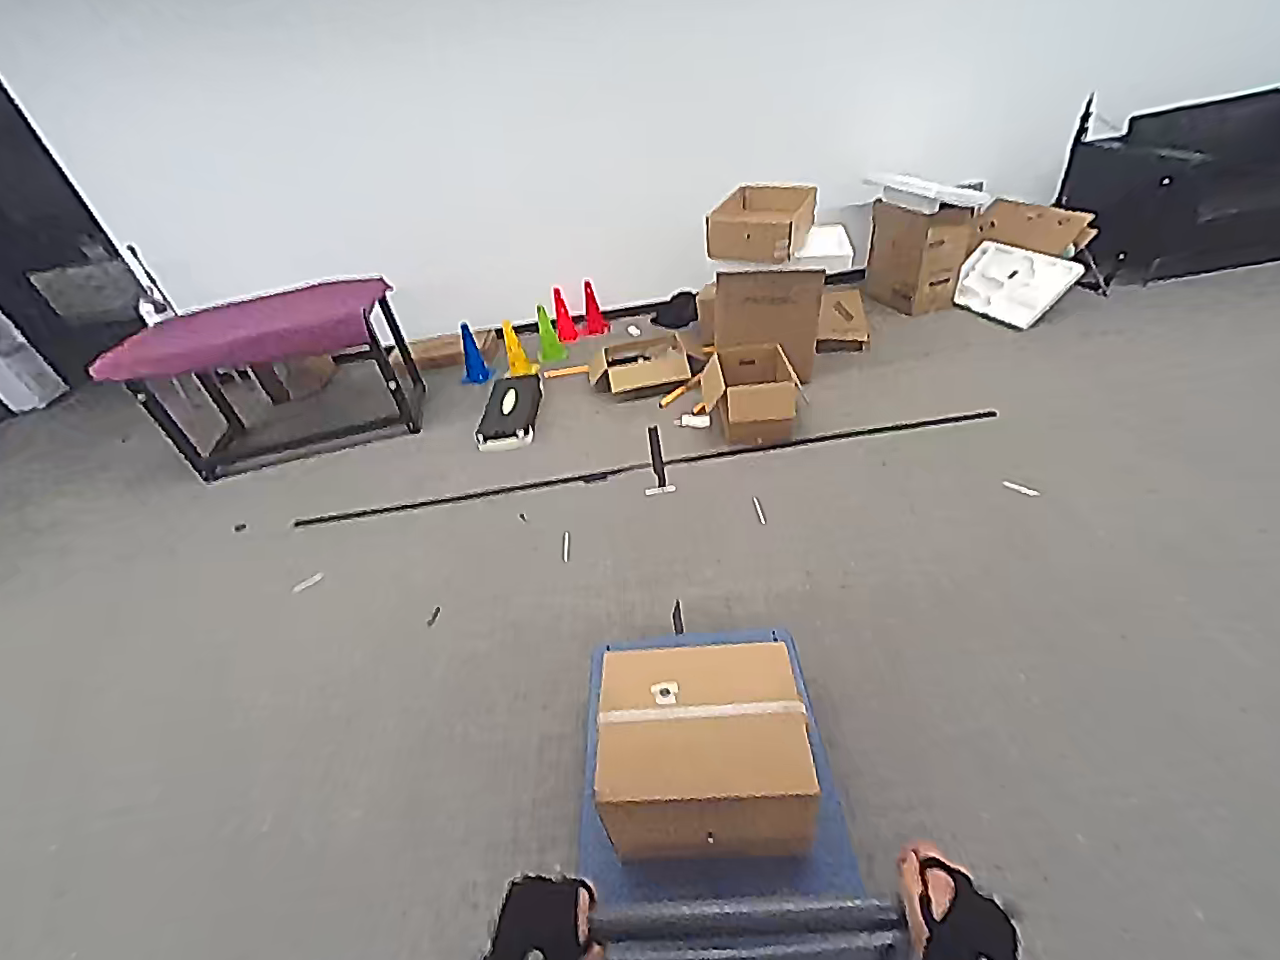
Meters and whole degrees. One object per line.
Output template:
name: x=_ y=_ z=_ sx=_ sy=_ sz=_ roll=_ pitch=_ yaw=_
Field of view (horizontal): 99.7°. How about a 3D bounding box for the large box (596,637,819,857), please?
large box: x=0.138 y=0.574 z=1.160 sx=0.408 sy=0.320 sz=0.320 roll=-7 pitch=37 yaw=5
